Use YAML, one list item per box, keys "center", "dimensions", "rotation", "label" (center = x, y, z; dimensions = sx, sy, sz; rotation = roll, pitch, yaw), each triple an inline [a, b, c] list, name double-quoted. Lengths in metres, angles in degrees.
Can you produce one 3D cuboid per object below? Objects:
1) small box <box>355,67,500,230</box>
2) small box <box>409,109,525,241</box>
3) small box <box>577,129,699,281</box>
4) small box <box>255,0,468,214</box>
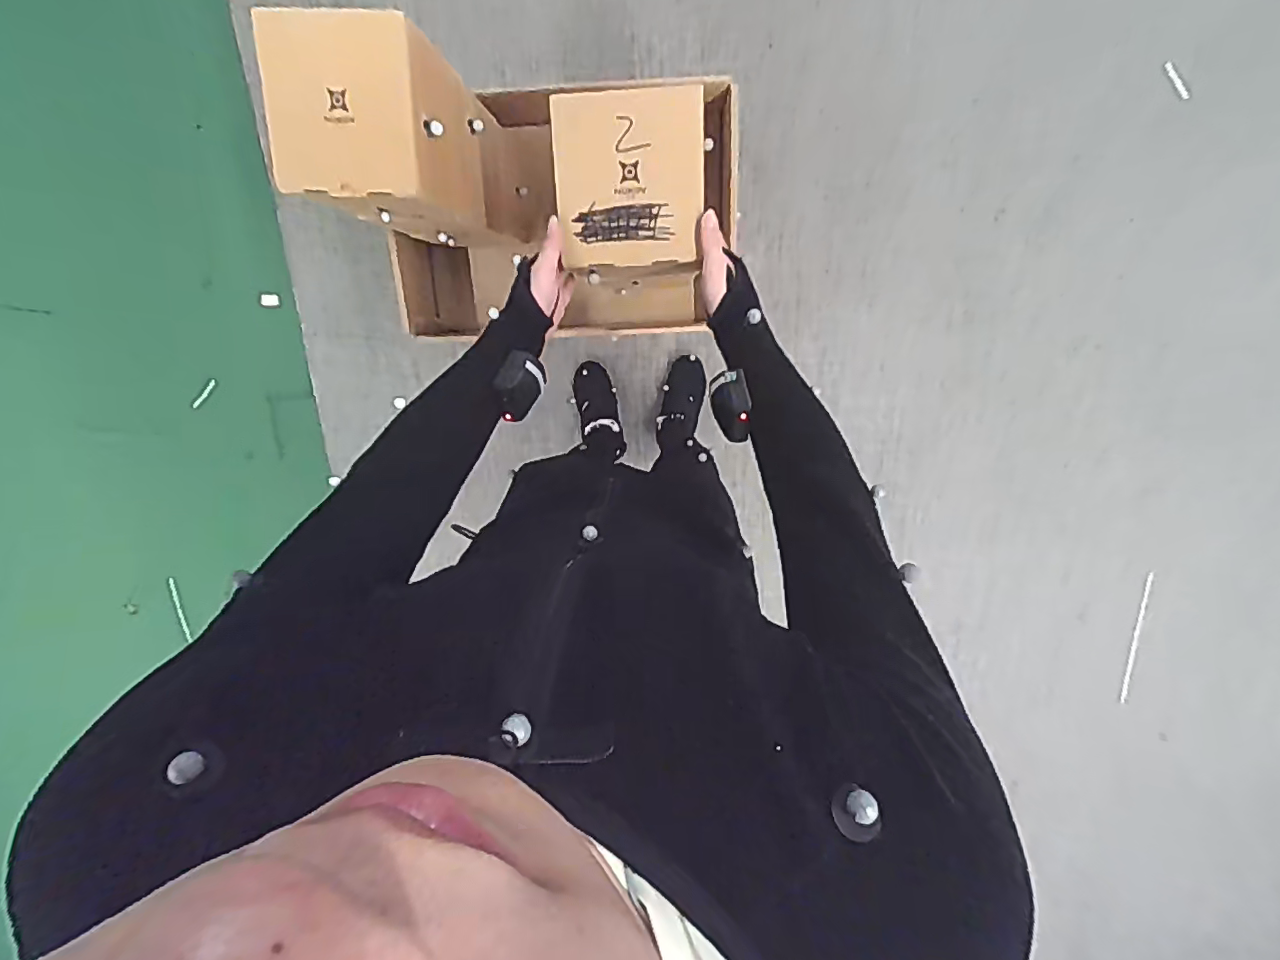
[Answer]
- center: [-0.316, -0.485, 0.812]
  dimensions: [0.168, 0.176, 0.179]
  rotation: [2, 108, 3]
  label: "small box"
- center: [-0.310, -0.534, 0.969]
  dimensions: [0.168, 0.176, 0.179]
  rotation: [0, 107, 3]
  label: "small box"
- center: [0.001, -0.405, 0.824]
  dimensions: [0.168, 0.176, 0.179]
  rotation: [-3, 107, 3]
  label: "small box"
- center: [-0.319, -0.437, 0.657]
  dimensions: [0.168, 0.176, 0.179]
  rotation: [3, 108, 1]
  label: "small box"
